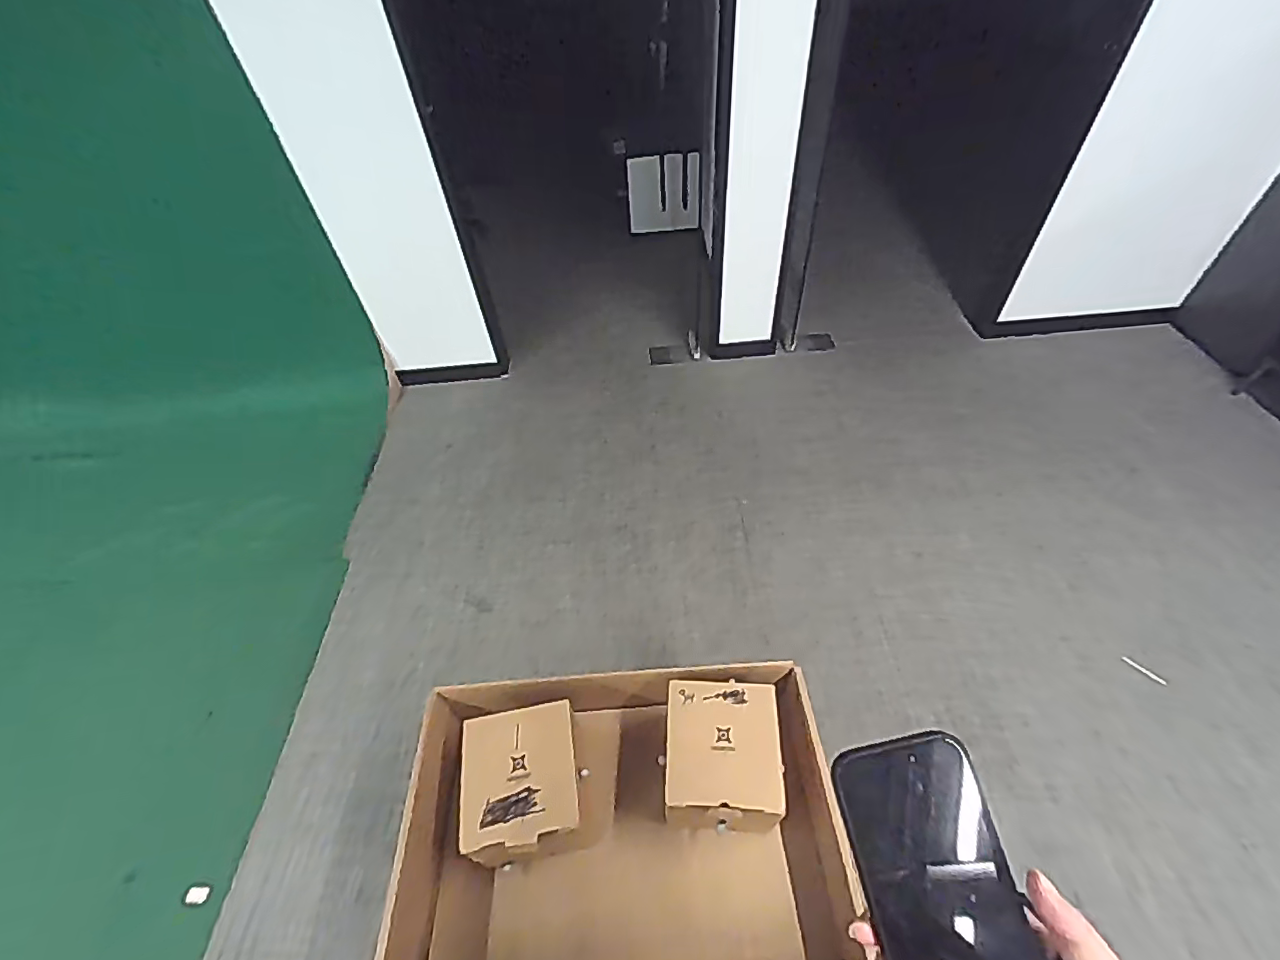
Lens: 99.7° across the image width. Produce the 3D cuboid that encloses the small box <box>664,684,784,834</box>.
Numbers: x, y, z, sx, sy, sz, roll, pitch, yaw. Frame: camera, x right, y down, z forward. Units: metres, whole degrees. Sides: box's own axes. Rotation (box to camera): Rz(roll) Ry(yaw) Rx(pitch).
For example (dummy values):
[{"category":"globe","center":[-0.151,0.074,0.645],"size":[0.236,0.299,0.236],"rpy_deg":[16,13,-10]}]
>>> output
[{"category":"small box","center":[0.127,0.438,0.845],"size":[0.168,0.176,0.179],"rpy_deg":[1,50,6]}]
